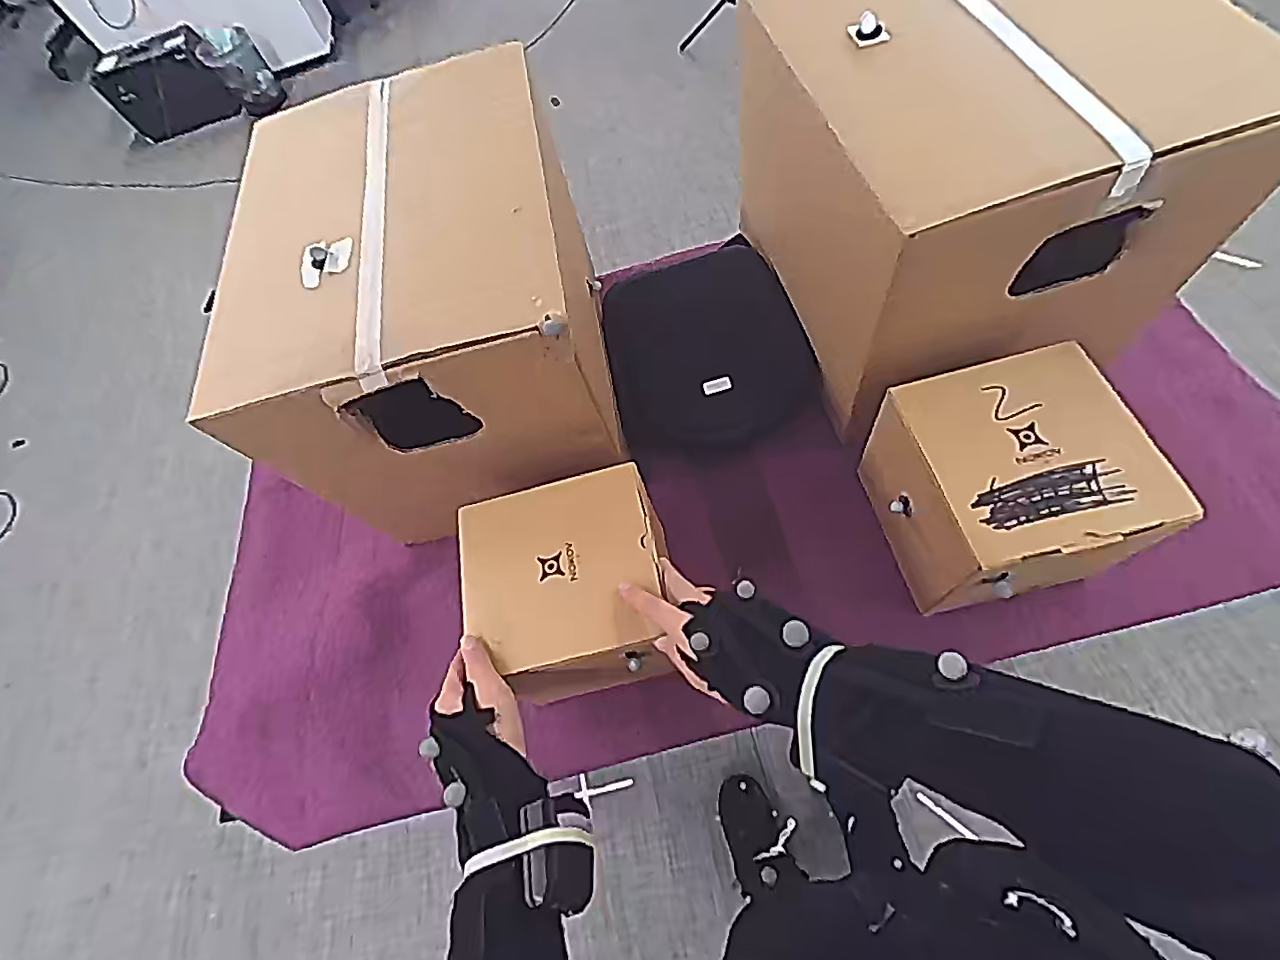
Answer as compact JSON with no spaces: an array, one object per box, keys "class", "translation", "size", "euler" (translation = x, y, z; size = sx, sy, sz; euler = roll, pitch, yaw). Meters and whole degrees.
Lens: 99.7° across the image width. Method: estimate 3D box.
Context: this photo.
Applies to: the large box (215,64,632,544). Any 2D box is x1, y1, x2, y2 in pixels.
[{"class":"large box","translation":[-0.216,-0.183,0.645],"size":[0.320,0.320,0.408],"euler":[-15,65,5]}]
